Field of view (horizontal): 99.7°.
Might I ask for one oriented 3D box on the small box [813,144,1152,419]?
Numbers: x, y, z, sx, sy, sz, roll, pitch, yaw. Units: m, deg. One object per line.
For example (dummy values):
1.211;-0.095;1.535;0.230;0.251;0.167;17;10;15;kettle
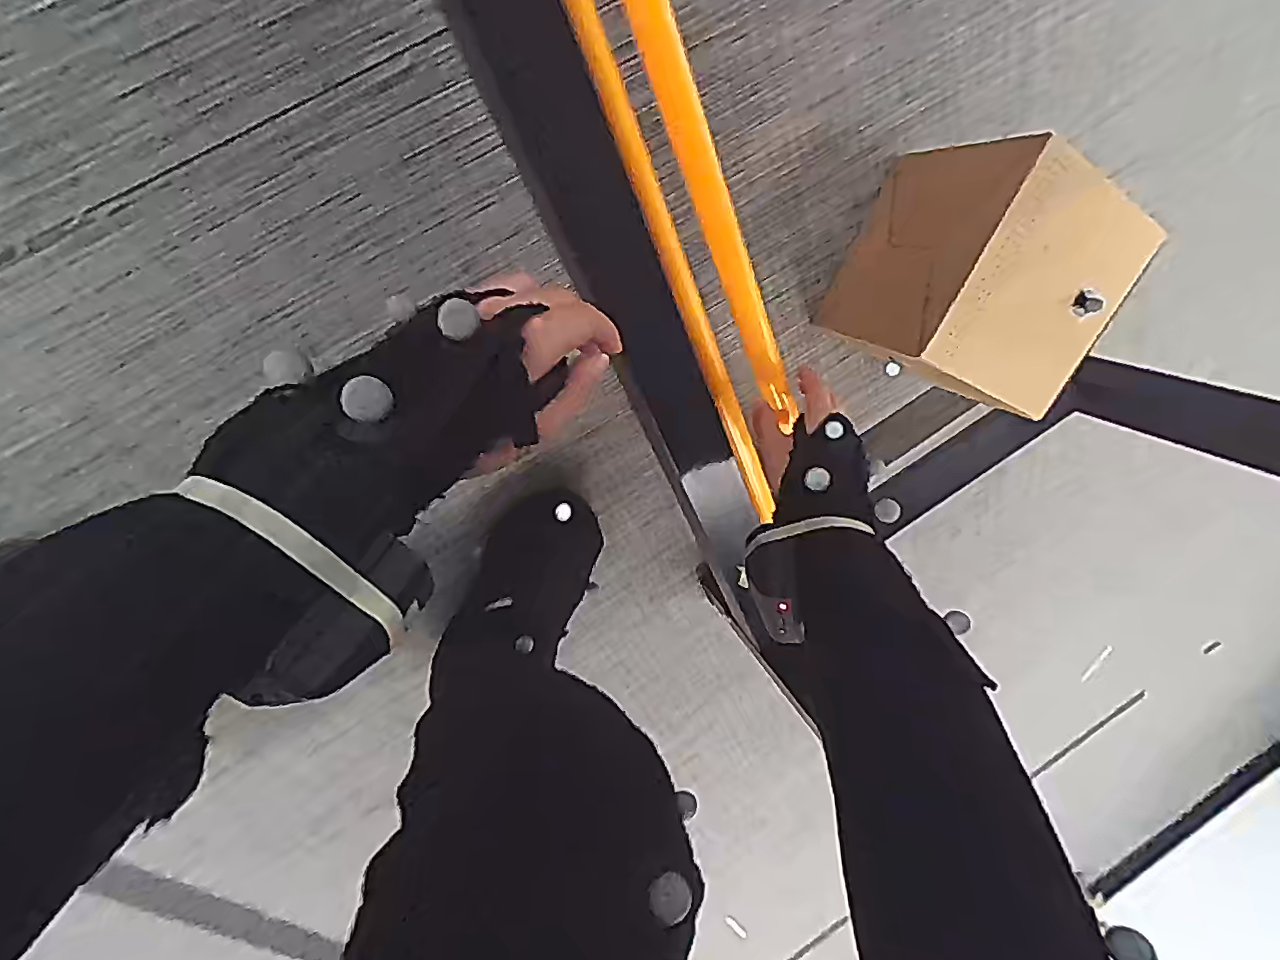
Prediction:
0.304;-0.183;0.512;0.176;0.168;0.179;17;108;-23;small box
